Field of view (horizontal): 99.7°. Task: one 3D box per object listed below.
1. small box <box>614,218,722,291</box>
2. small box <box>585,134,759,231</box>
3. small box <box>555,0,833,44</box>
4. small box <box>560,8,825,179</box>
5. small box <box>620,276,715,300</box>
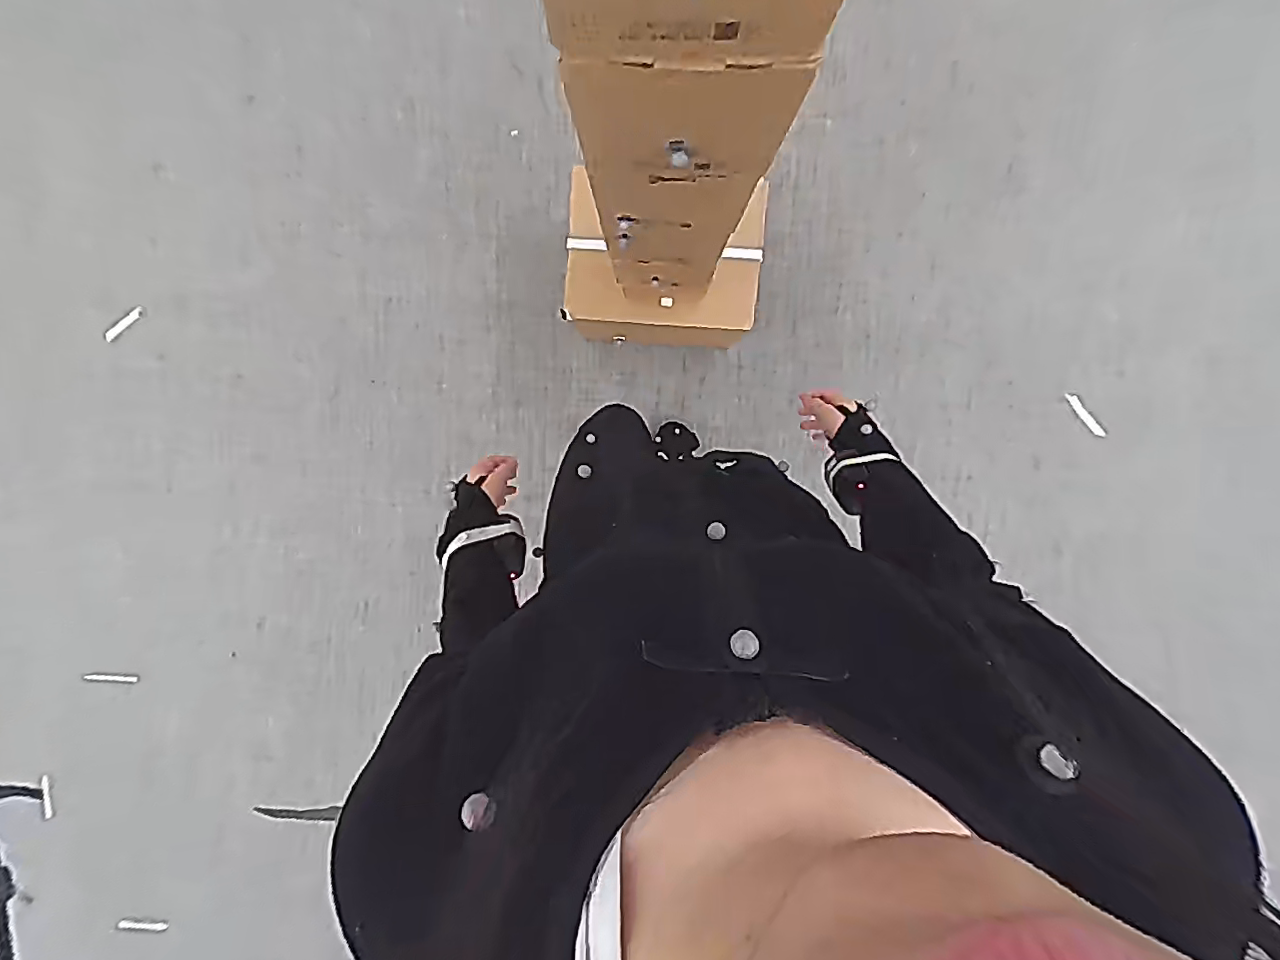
[{"bbox_3d":[0.046,-0.423,0.891,0.168,0.176,0.179,2,98,1],"label":"small box"},{"bbox_3d":[0.040,-0.378,0.566,0.168,0.176,0.179,5,97,0],"label":"small box"},{"bbox_3d":[0.029,-0.336,0.241,0.168,0.176,0.179,1,99,1],"label":"small box"},{"bbox_3d":[0.036,-0.354,0.403,0.168,0.176,0.179,2,98,1],"label":"small box"},{"bbox_3d":[0.054,-0.450,1.051,0.179,0.176,0.168,1,98,0],"label":"small box"}]
